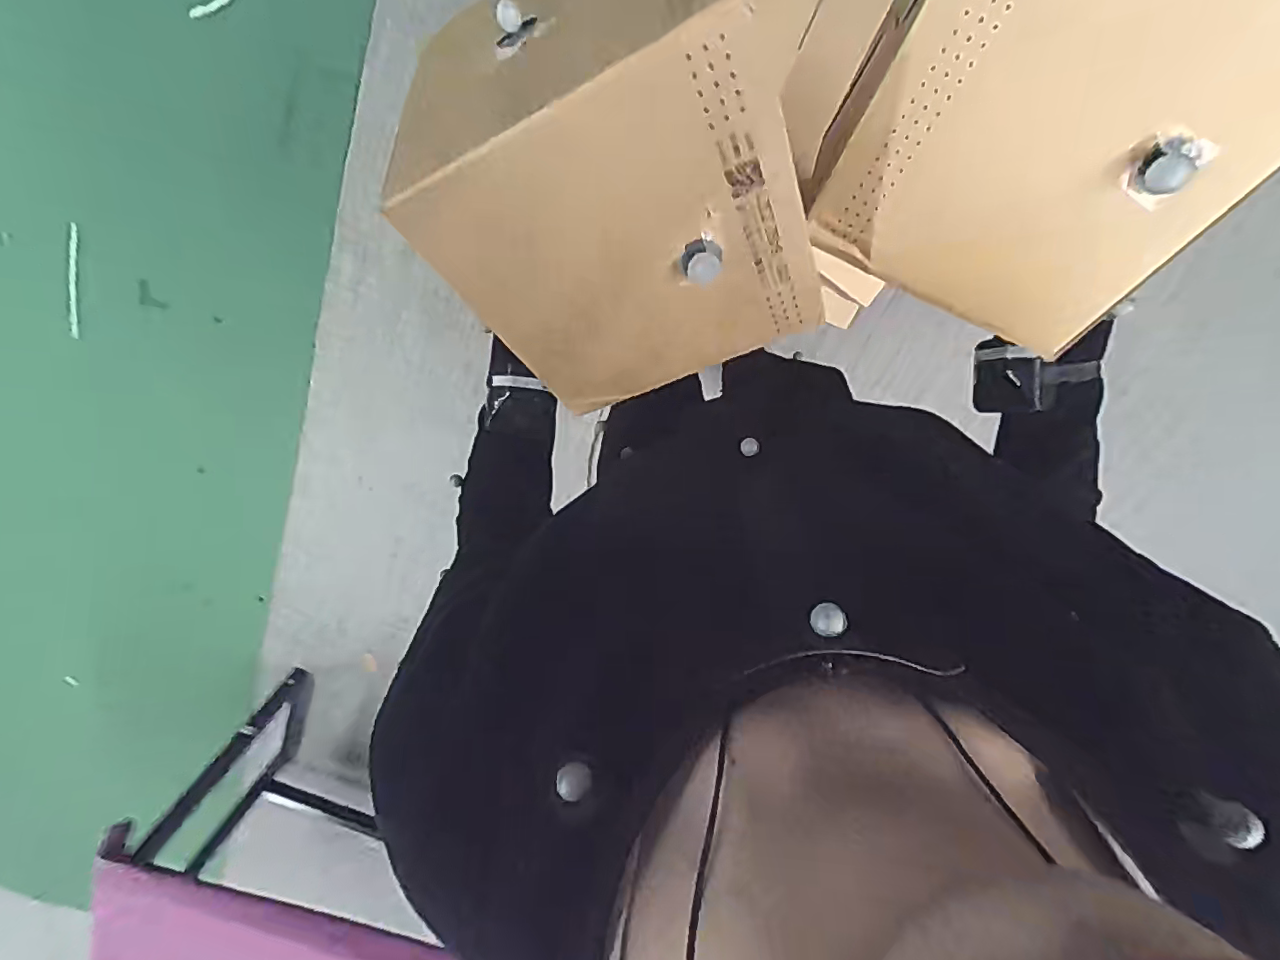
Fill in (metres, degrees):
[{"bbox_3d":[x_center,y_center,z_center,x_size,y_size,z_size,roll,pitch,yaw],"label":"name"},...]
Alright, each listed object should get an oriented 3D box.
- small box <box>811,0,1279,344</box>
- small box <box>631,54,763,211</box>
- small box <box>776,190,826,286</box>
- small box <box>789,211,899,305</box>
[{"bbox_3d":[0.202,-0.211,0.280,0.176,0.168,0.179,23,142,-2],"label":"small box"},{"bbox_3d":[0.102,-0.622,0.998,0.168,0.176,0.179,30,113,-11],"label":"small box"},{"bbox_3d":[0.419,-0.539,1.188,0.168,0.176,0.179,30,112,-10],"label":"small box"},{"bbox_3d":[0.411,-0.467,1.041,0.168,0.176,0.179,33,113,-10],"label":"small box"}]
